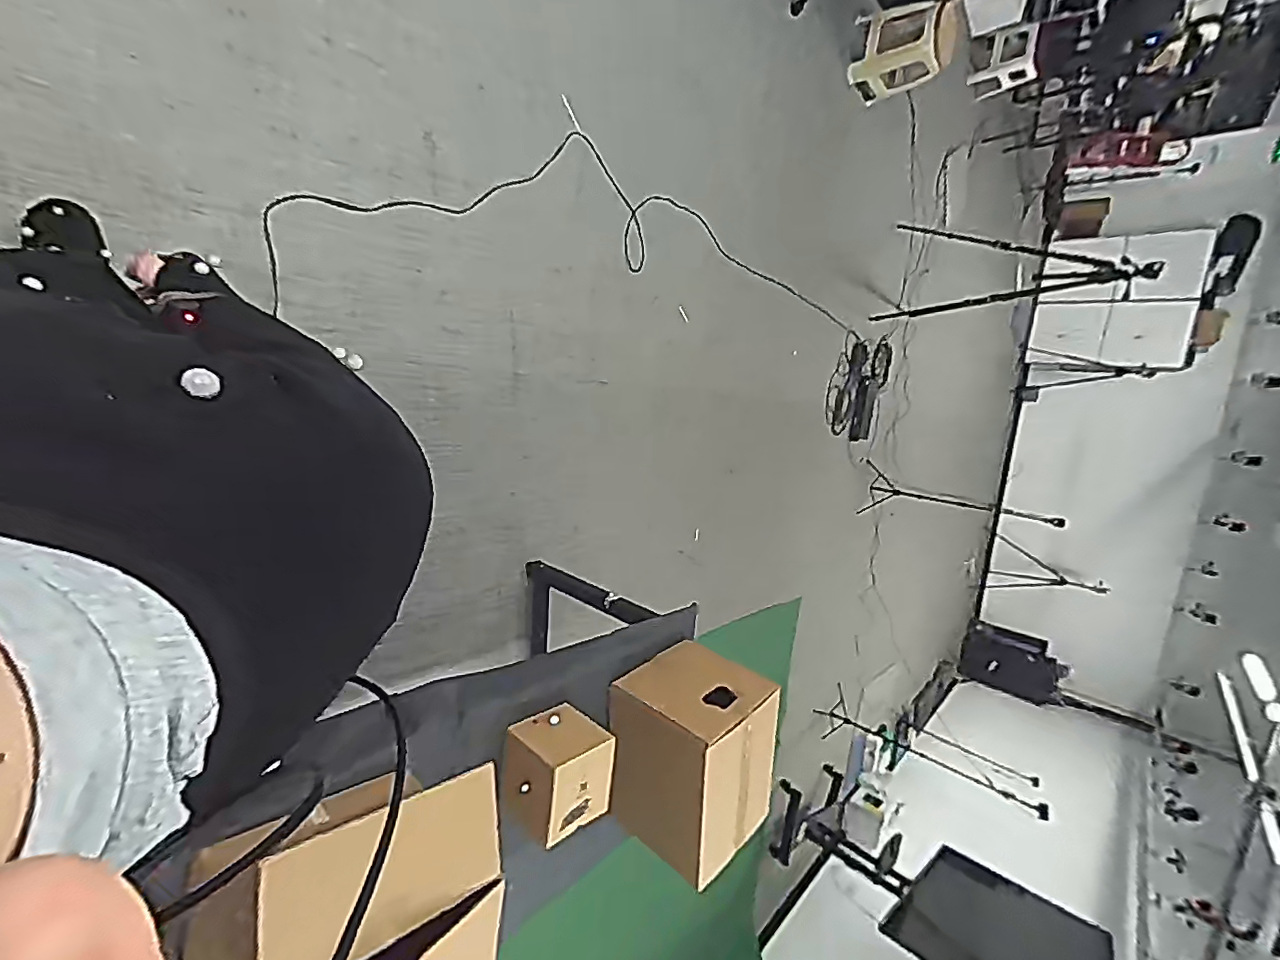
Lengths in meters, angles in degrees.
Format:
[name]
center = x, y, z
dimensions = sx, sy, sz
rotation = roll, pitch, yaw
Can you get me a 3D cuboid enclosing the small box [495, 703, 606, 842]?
[small box]
center = -0.198, 0.623, 1.176
dimensions = 0.168, 0.176, 0.179
rotation = -3, 103, -48
